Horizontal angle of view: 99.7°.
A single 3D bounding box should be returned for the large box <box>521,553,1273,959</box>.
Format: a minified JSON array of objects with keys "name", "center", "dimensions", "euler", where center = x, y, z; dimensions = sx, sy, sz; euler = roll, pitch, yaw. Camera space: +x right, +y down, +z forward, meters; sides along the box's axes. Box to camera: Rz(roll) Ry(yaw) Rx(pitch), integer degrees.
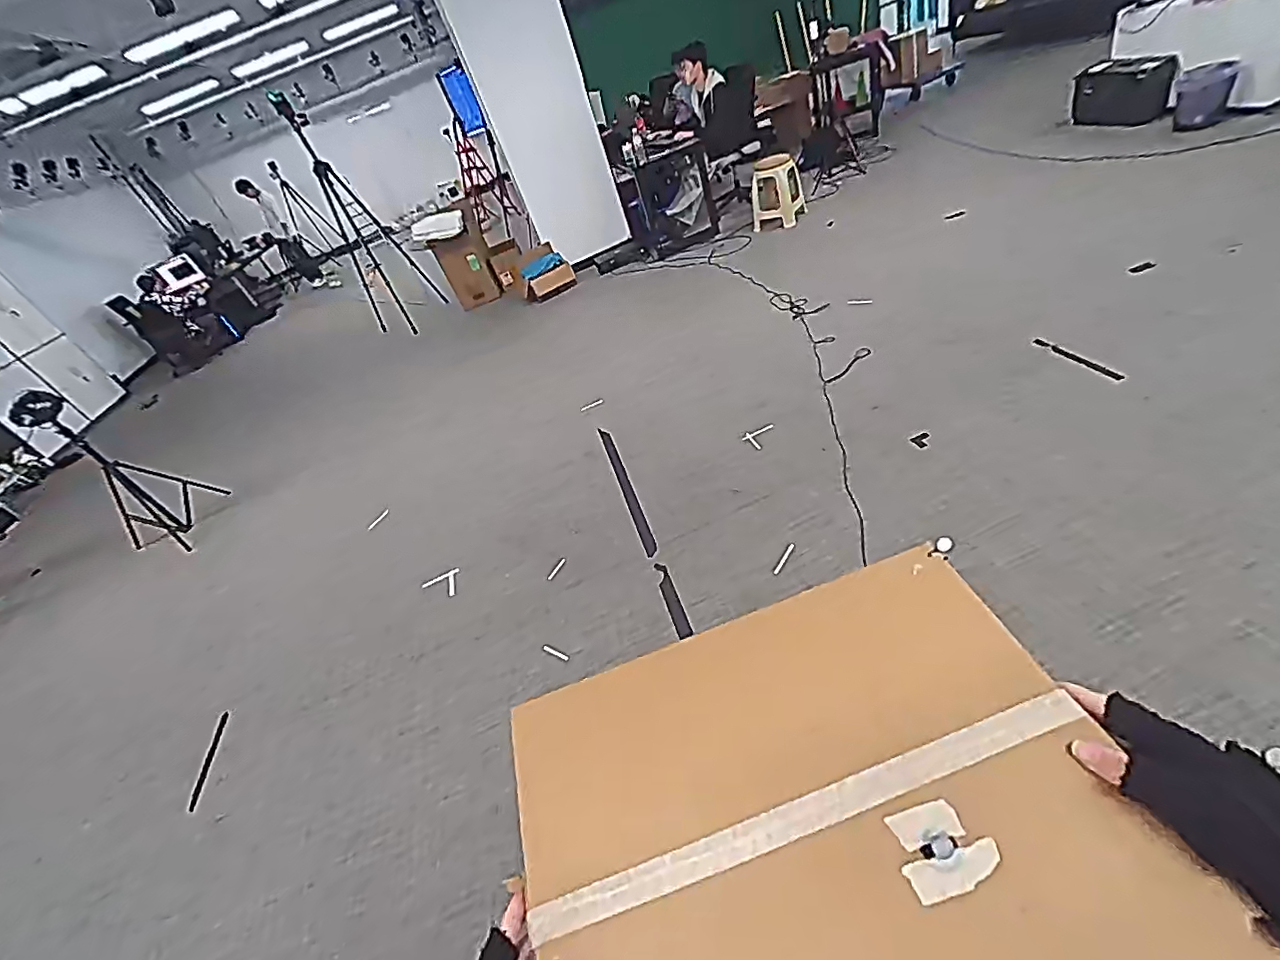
[{"name":"large box","center":[0.152,0.338,0.491],"dimensions":[0.408,0.320,0.320],"euler":[-21,45,-2]}]
